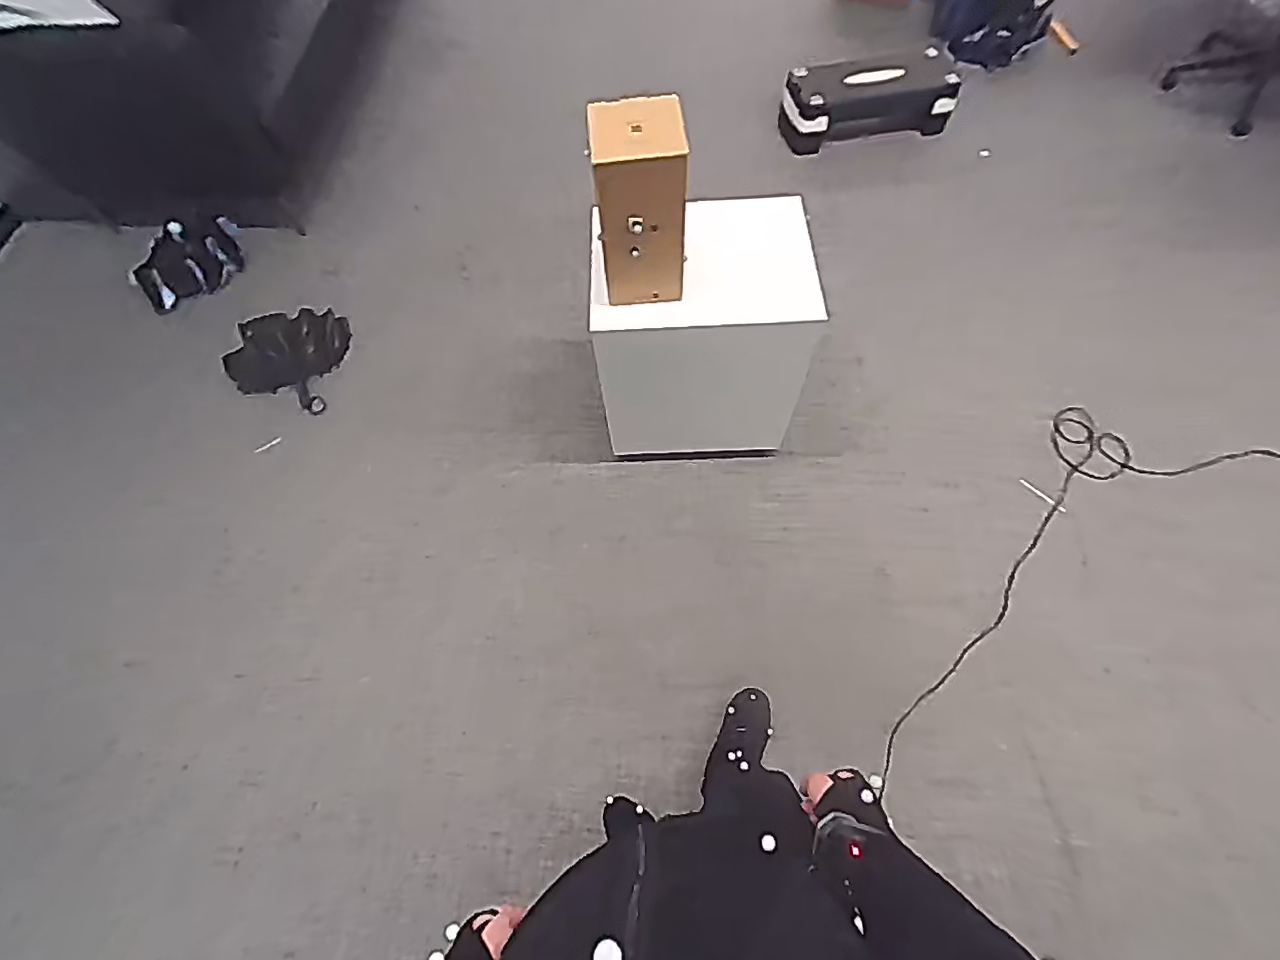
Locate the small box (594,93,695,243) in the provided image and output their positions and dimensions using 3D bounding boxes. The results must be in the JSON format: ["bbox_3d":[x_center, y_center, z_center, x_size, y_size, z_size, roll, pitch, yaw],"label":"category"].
[{"bbox_3d":[0.008,-0.575,1.006,0.168,0.176,0.179,-6,64,1],"label":"small box"}]

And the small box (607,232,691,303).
[{"bbox_3d":[0.017,-0.504,1.153,0.168,0.176,0.179,-4,63,1],"label":"small box"}]
